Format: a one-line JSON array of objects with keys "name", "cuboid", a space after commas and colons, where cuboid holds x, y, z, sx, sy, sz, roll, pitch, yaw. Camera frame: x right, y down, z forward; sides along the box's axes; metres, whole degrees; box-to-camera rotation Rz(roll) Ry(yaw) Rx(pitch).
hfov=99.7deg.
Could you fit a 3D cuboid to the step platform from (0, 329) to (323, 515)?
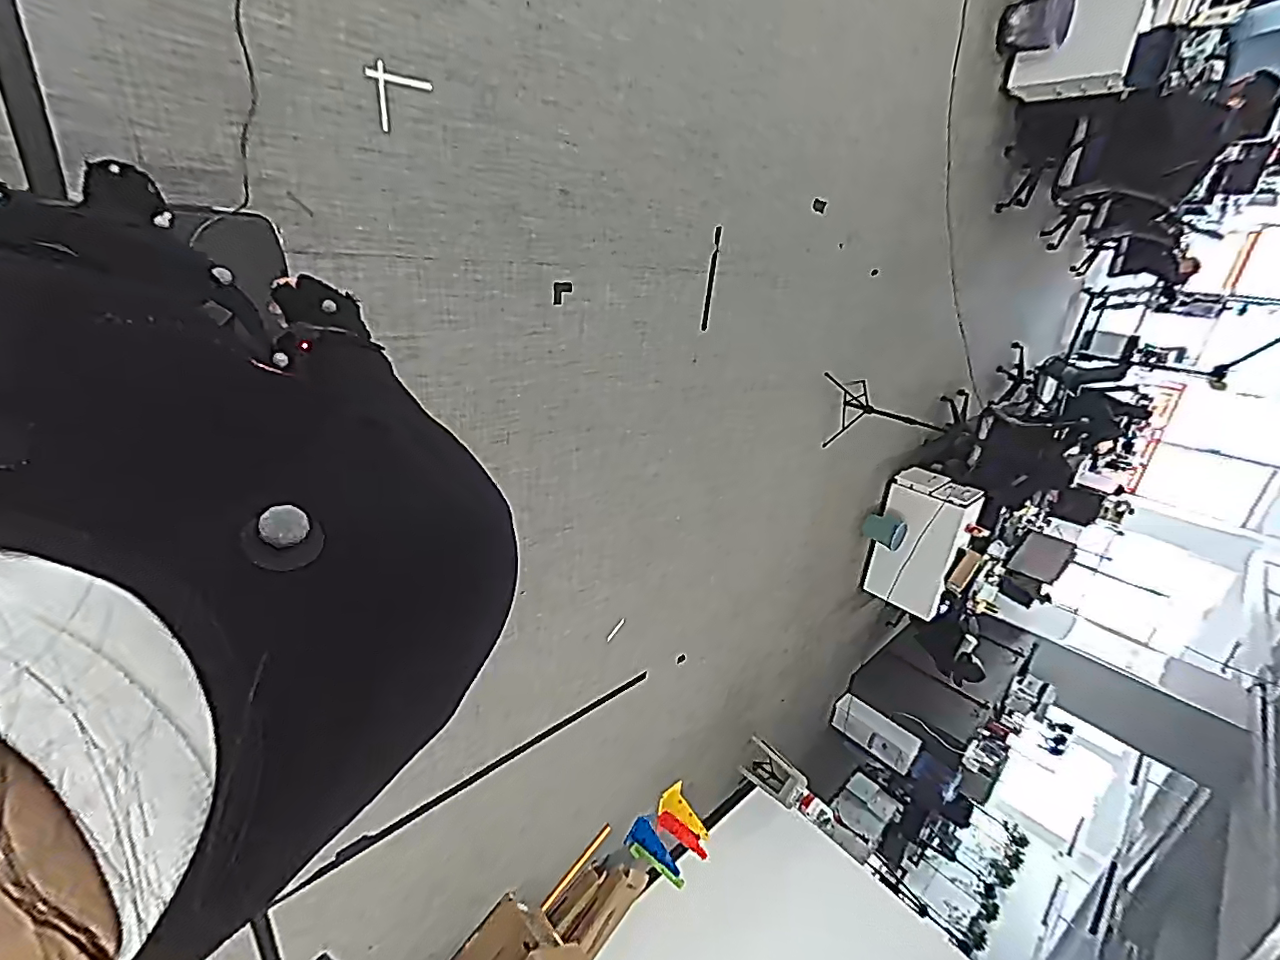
[{"name": "step platform", "cuboid": [-1.033, -0.133, 1.086, 0.684, 0.204, 0.286, -16, 120, -39]}]
